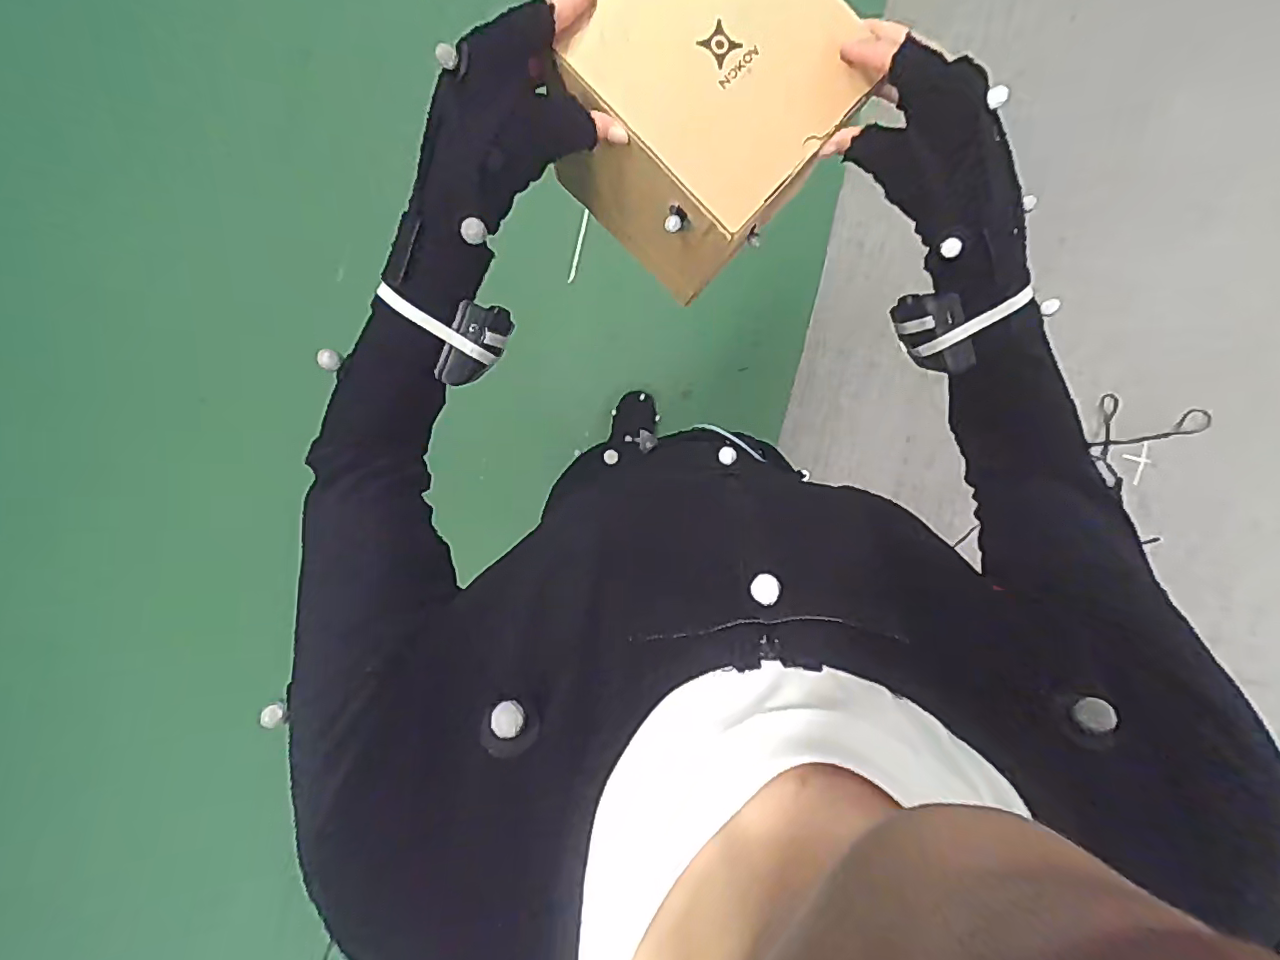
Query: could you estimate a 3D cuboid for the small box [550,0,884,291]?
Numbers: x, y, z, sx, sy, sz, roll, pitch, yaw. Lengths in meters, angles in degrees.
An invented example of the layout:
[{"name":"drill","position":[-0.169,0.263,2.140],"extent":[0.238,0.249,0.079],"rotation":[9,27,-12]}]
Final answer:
[{"name":"small box","position":[0.044,-0.288,0.441],"extent":[0.179,0.176,0.168],"rotation":[44,86,-8]}]
